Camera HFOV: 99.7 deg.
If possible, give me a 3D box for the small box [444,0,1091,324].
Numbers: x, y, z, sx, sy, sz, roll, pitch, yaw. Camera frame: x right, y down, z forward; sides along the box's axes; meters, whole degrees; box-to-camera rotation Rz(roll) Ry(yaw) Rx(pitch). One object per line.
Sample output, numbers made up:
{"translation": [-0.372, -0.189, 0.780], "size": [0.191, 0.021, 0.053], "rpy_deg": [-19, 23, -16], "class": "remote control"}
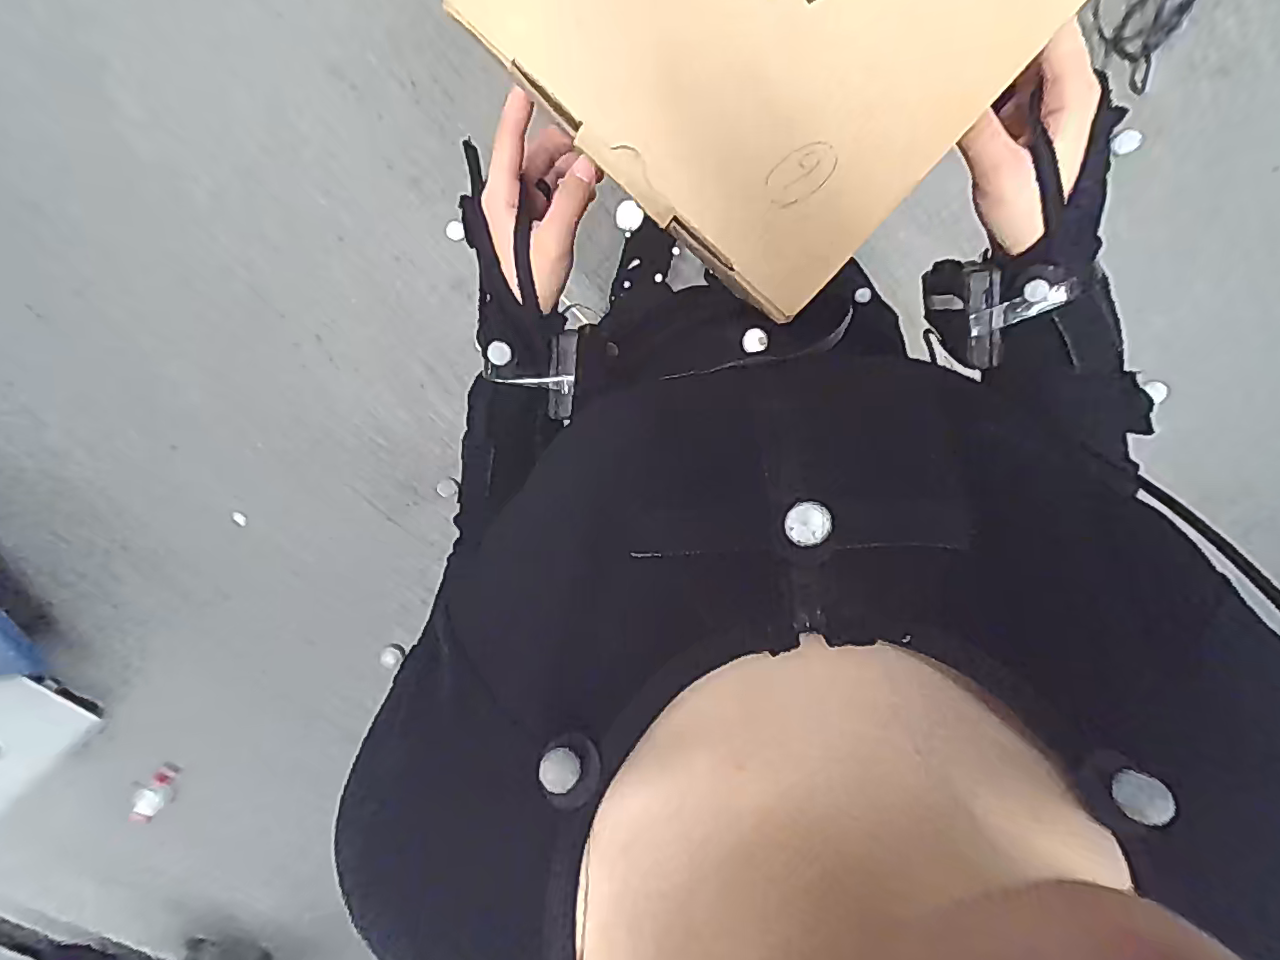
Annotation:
{"translation": [0.055, -0.197, 0.243], "size": [0.168, 0.176, 0.179], "rpy_deg": [40, 109, -11], "class": "small box"}
